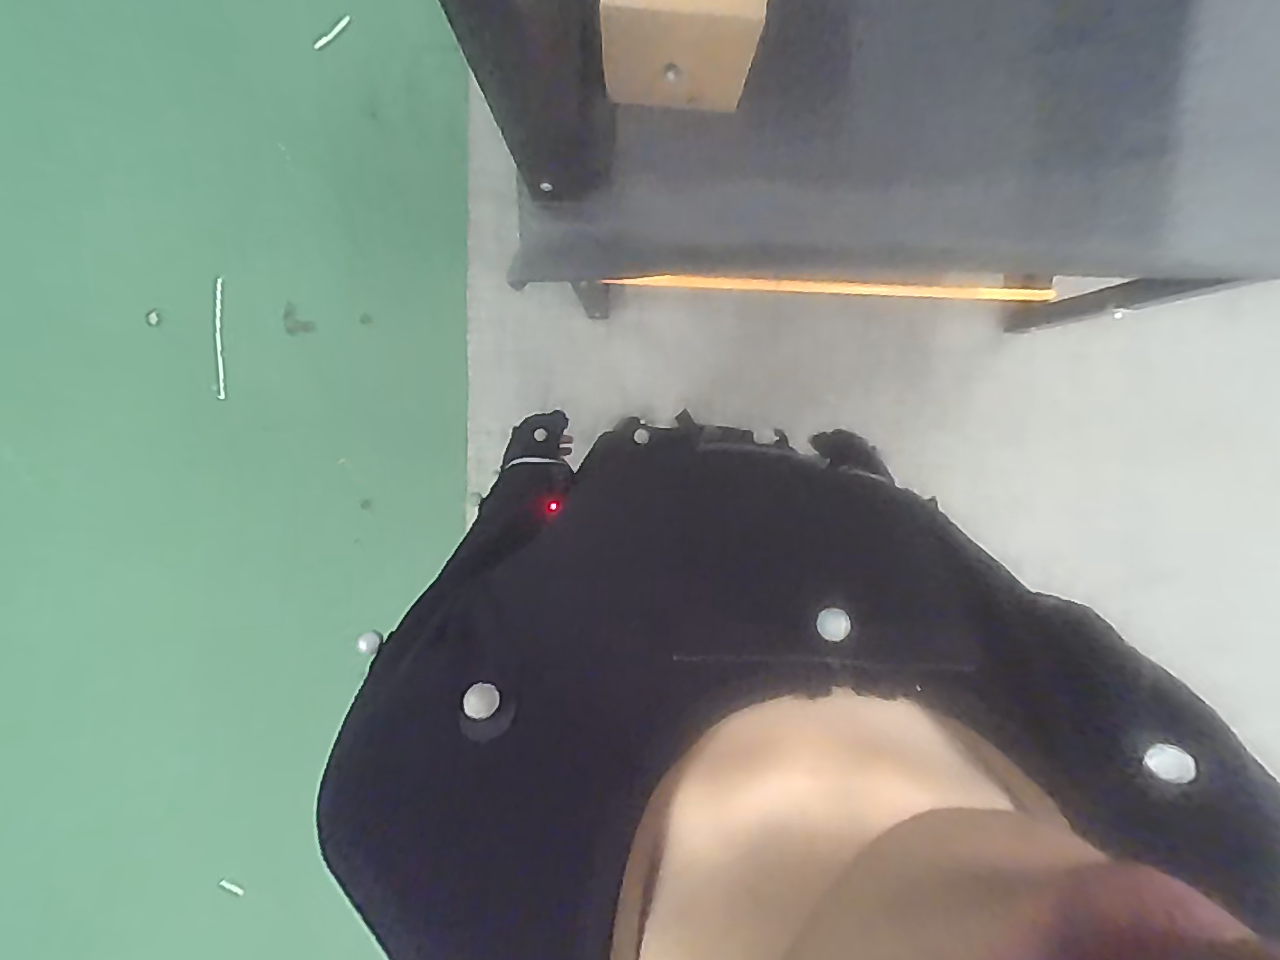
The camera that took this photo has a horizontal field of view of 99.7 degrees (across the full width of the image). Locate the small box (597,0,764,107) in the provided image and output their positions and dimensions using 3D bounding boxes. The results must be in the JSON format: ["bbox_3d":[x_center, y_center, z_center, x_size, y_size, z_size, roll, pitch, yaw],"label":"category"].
[{"bbox_3d":[0.046,-0.547,0.591,0.168,0.176,0.179,4,96,-1],"label":"small box"}]
